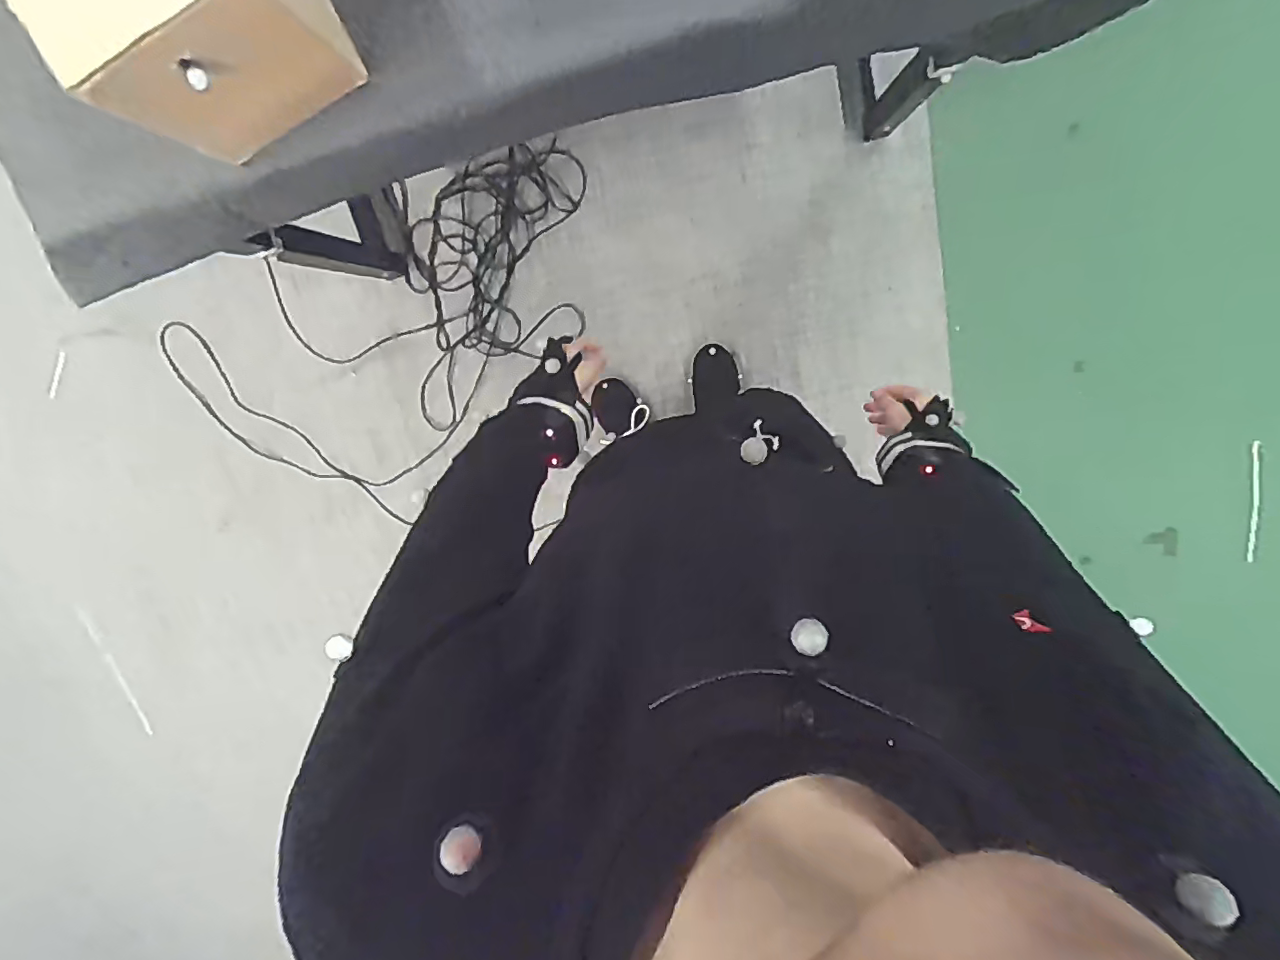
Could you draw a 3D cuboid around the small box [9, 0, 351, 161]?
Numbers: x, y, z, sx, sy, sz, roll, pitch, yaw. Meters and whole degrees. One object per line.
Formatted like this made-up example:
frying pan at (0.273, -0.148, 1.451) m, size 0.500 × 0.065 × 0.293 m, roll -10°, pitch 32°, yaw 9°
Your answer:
small box at (-0.384, -0.414, 0.460) m, size 0.179 × 0.176 × 0.168 m, roll -24°, pitch 101°, yaw 10°
